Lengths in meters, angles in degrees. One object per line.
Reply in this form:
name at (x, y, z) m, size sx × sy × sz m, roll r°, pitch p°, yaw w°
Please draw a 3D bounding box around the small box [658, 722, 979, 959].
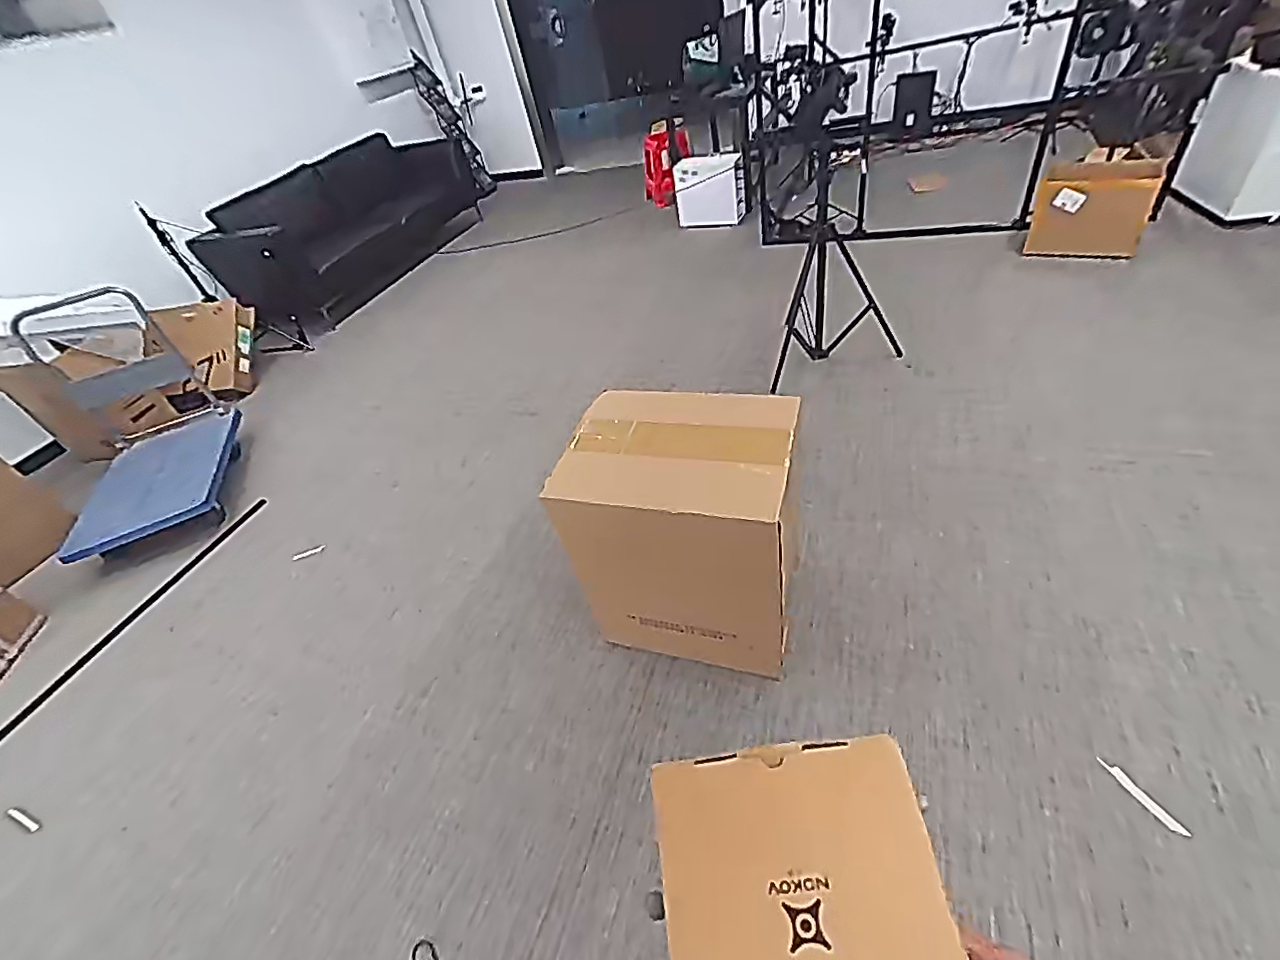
small box at (0.113, 0.285, 0.379) m, size 0.168 × 0.176 × 0.179 m, roll -10°, pitch 55°, yaw 6°
